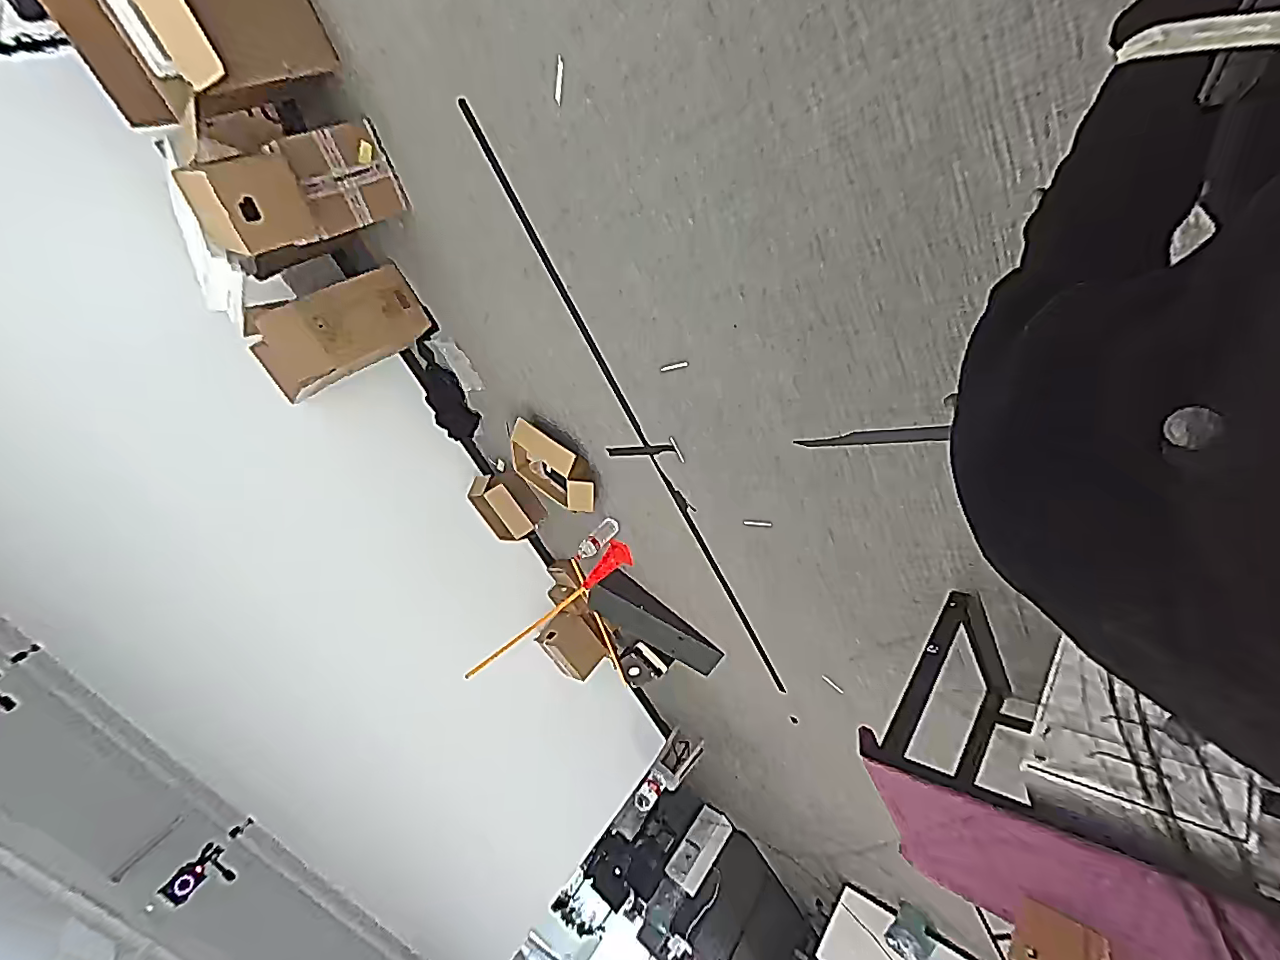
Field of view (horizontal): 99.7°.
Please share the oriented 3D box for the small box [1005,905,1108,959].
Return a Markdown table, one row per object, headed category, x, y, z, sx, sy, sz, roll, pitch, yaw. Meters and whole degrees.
| category | x | y | z | sx | sy | sz | roll | pitch | yaw |
| --- | --- | --- | --- | --- | --- | --- | --- | --- | --- |
| small box | 1.054 | 1.228 | 1.365 | 0.179 | 0.176 | 0.168 | 4 | 128 | 48 |
